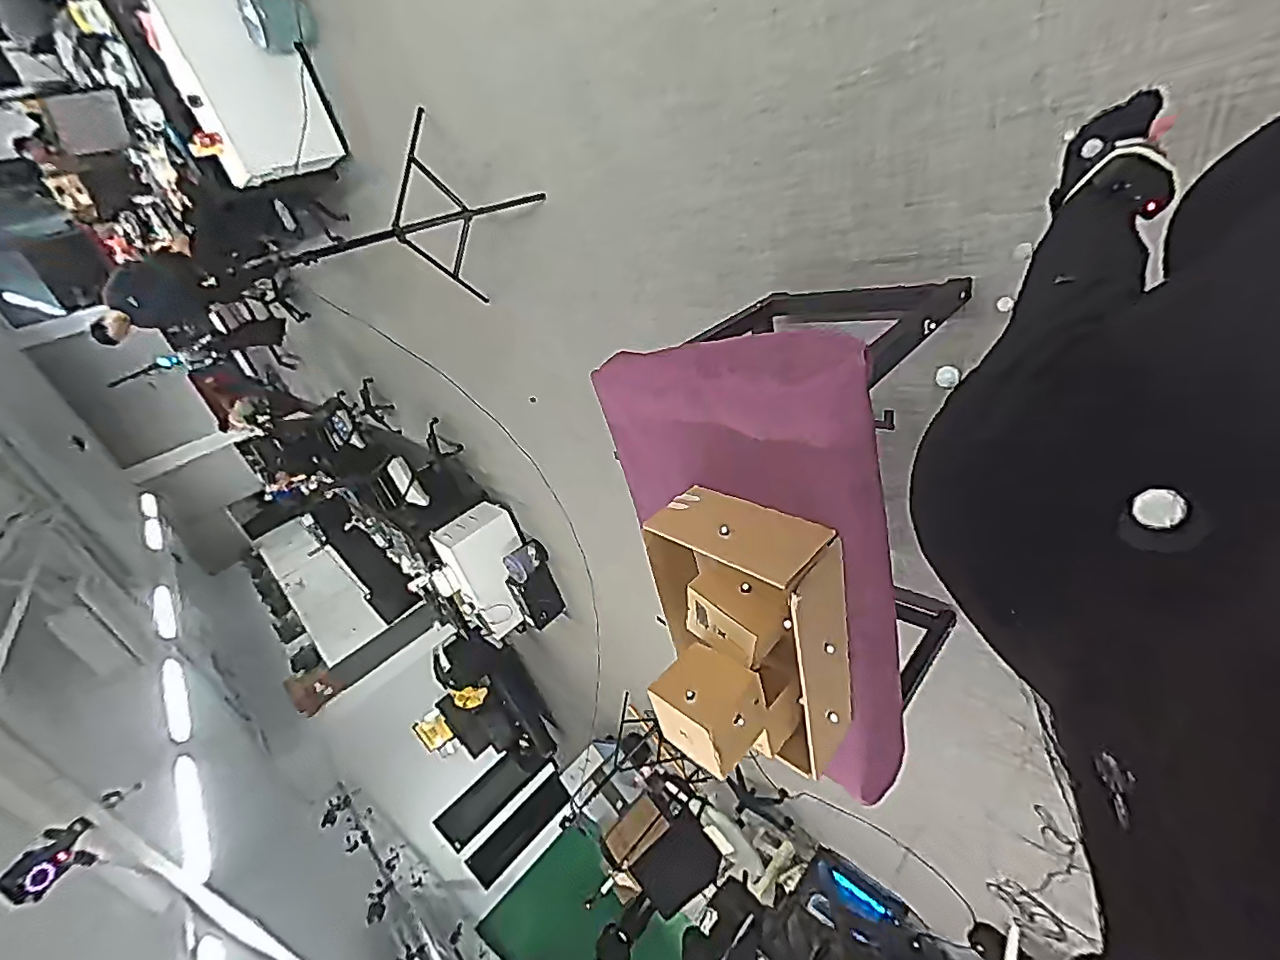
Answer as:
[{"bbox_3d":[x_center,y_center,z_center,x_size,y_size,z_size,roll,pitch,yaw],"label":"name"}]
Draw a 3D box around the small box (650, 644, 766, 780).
[{"bbox_3d":[0.154,0.484,1.157,0.179,0.176,0.168,18,133,47],"label":"small box"}]
